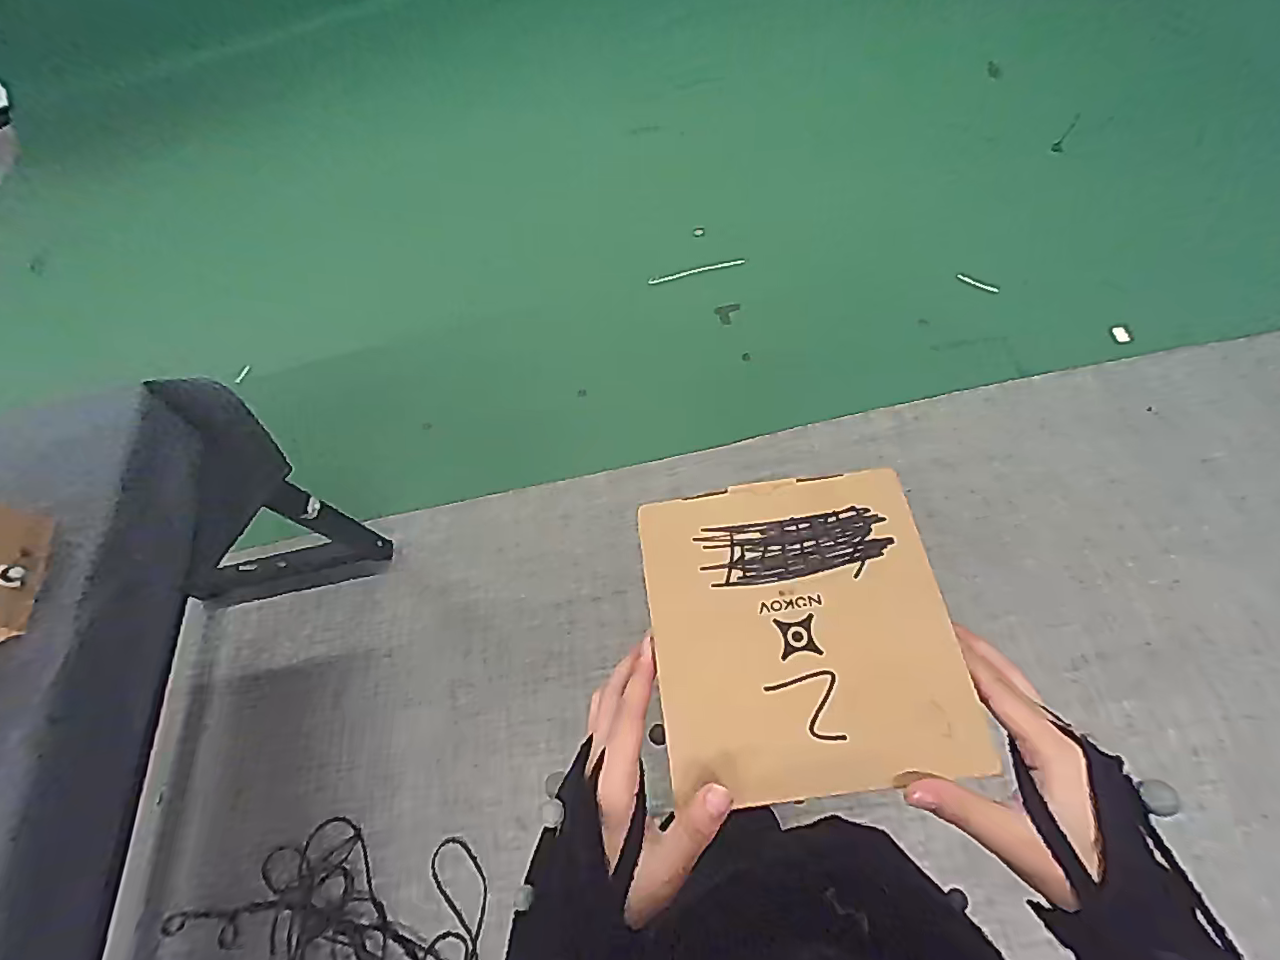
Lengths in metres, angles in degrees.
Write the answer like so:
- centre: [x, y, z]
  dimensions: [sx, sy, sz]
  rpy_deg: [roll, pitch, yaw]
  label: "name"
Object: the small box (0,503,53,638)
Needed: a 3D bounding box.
- centre: [-0.895, 0.116, 0.653]
  dimensions: [0.179, 0.176, 0.168]
  rpy_deg: [-18, 64, 0]
  label: "small box"
